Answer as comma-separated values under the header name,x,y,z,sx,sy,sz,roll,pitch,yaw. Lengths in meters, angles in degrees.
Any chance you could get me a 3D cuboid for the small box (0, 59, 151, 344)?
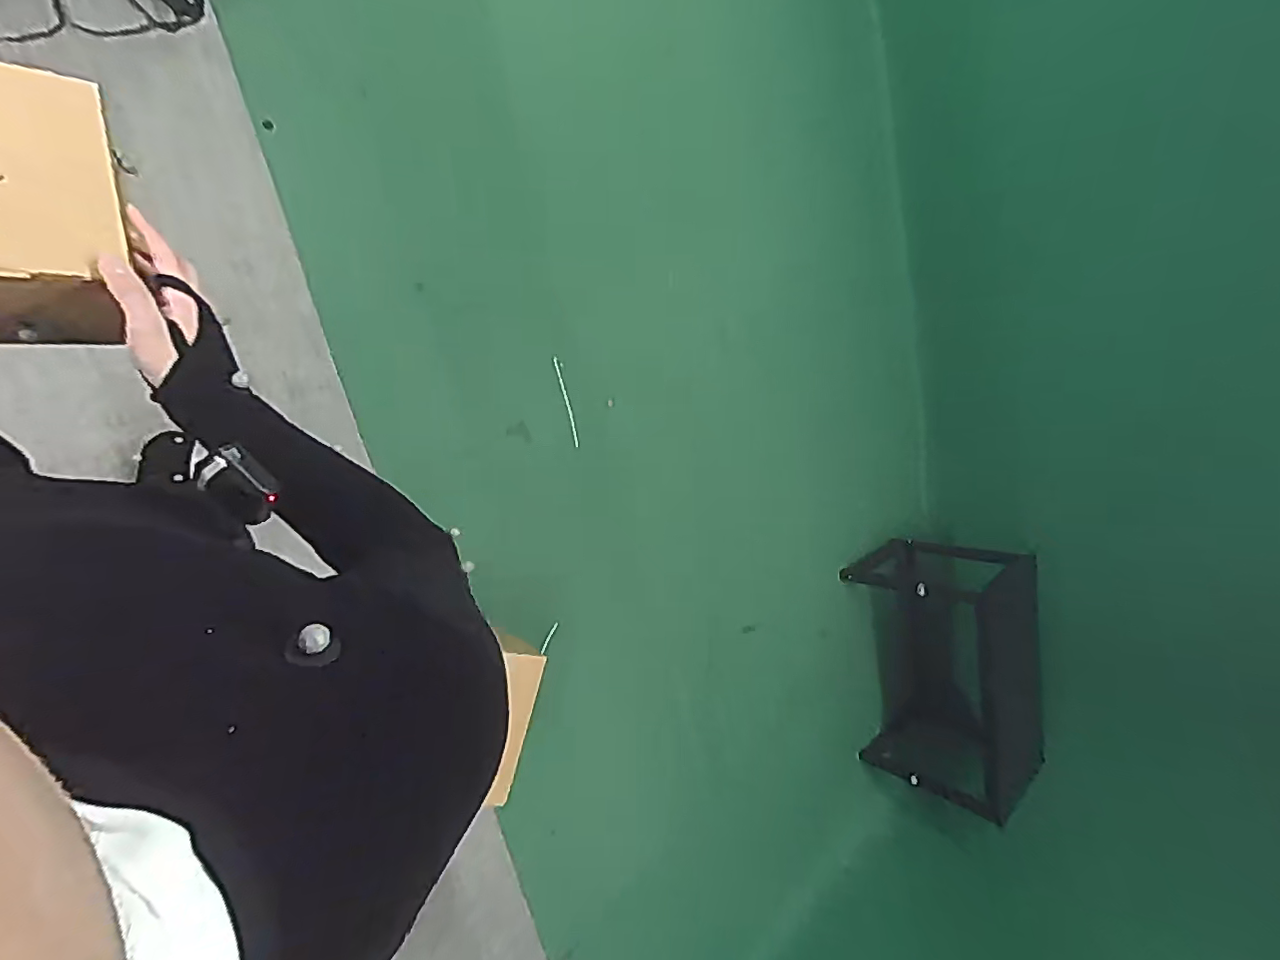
name,x,y,z,sx,sy,sz,roll,pitch,yaw
small box,-0.555,-0.234,0.472,0.168,0.176,0.179,-10,89,-38
